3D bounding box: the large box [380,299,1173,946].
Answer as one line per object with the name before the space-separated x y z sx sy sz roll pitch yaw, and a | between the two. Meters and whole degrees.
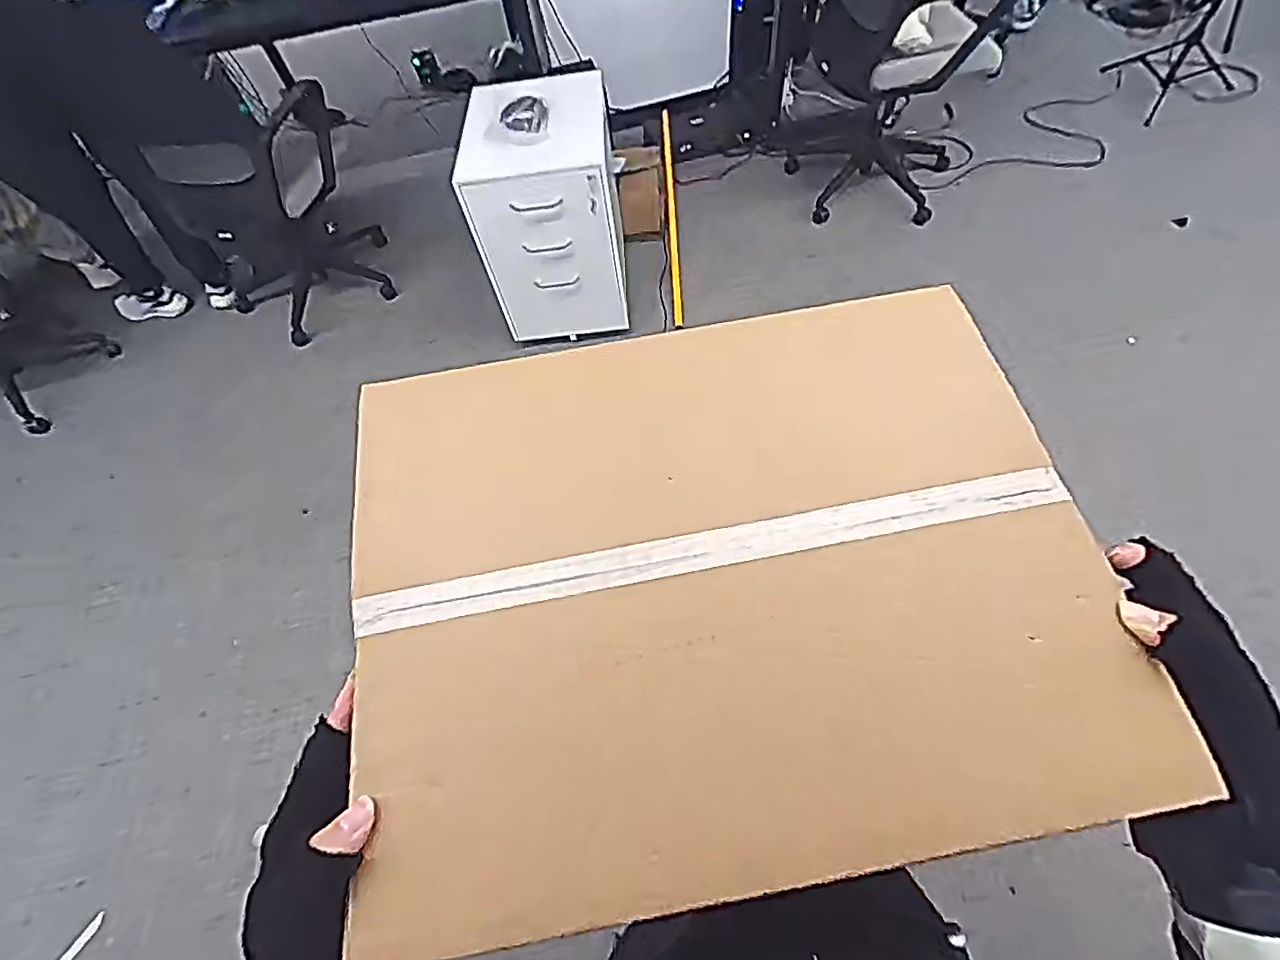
large box | 0.050 0.104 0.455 0.408 0.320 0.320 -11 67 -2
